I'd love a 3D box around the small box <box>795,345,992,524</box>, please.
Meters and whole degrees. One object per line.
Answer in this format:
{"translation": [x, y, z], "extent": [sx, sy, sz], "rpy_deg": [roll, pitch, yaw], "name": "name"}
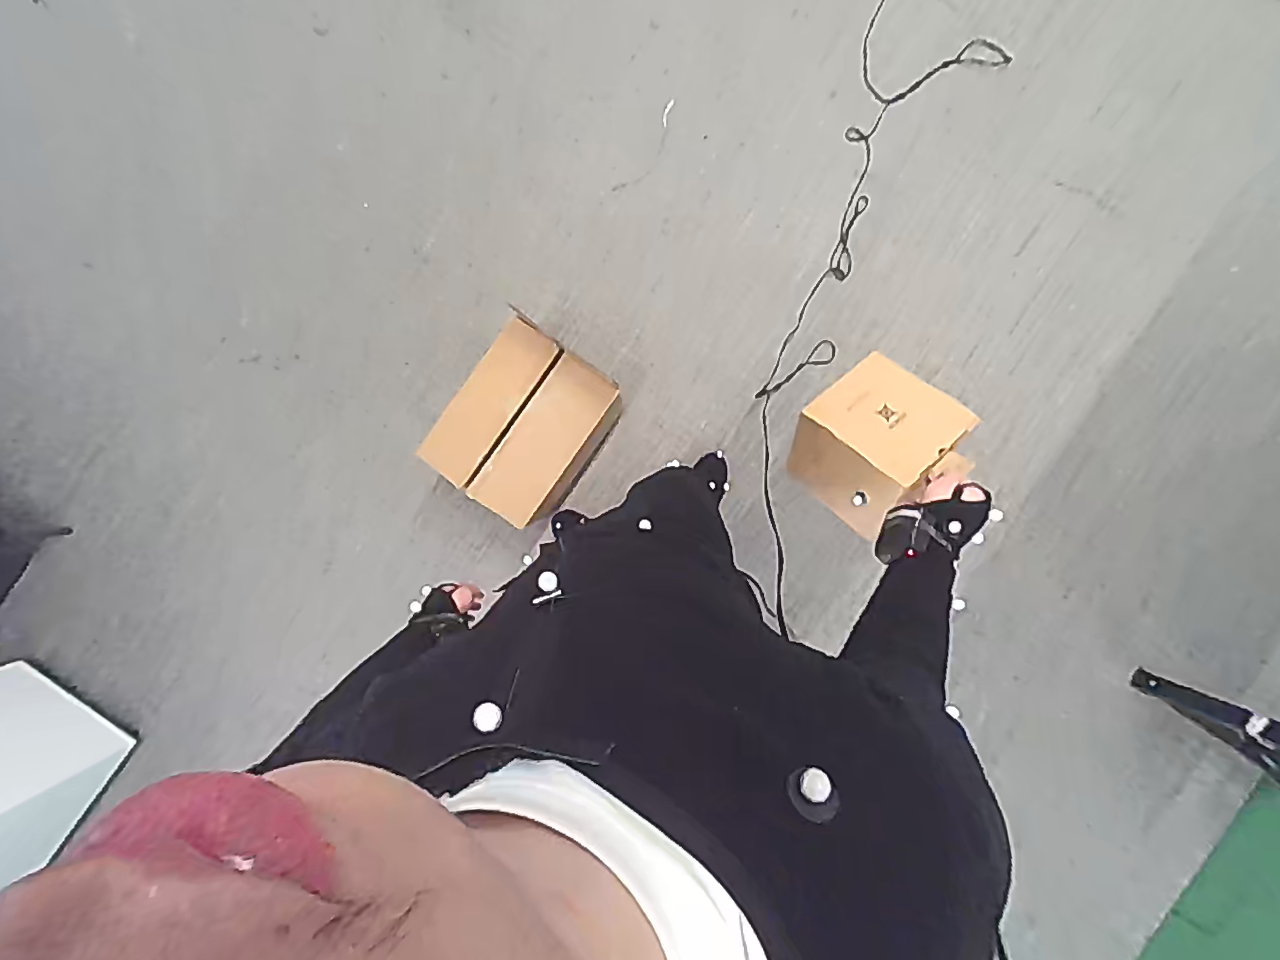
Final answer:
{"translation": [0.357, -0.057, 0.798], "extent": [0.168, 0.176, 0.179], "rpy_deg": [-34, 61, -16], "name": "small box"}
